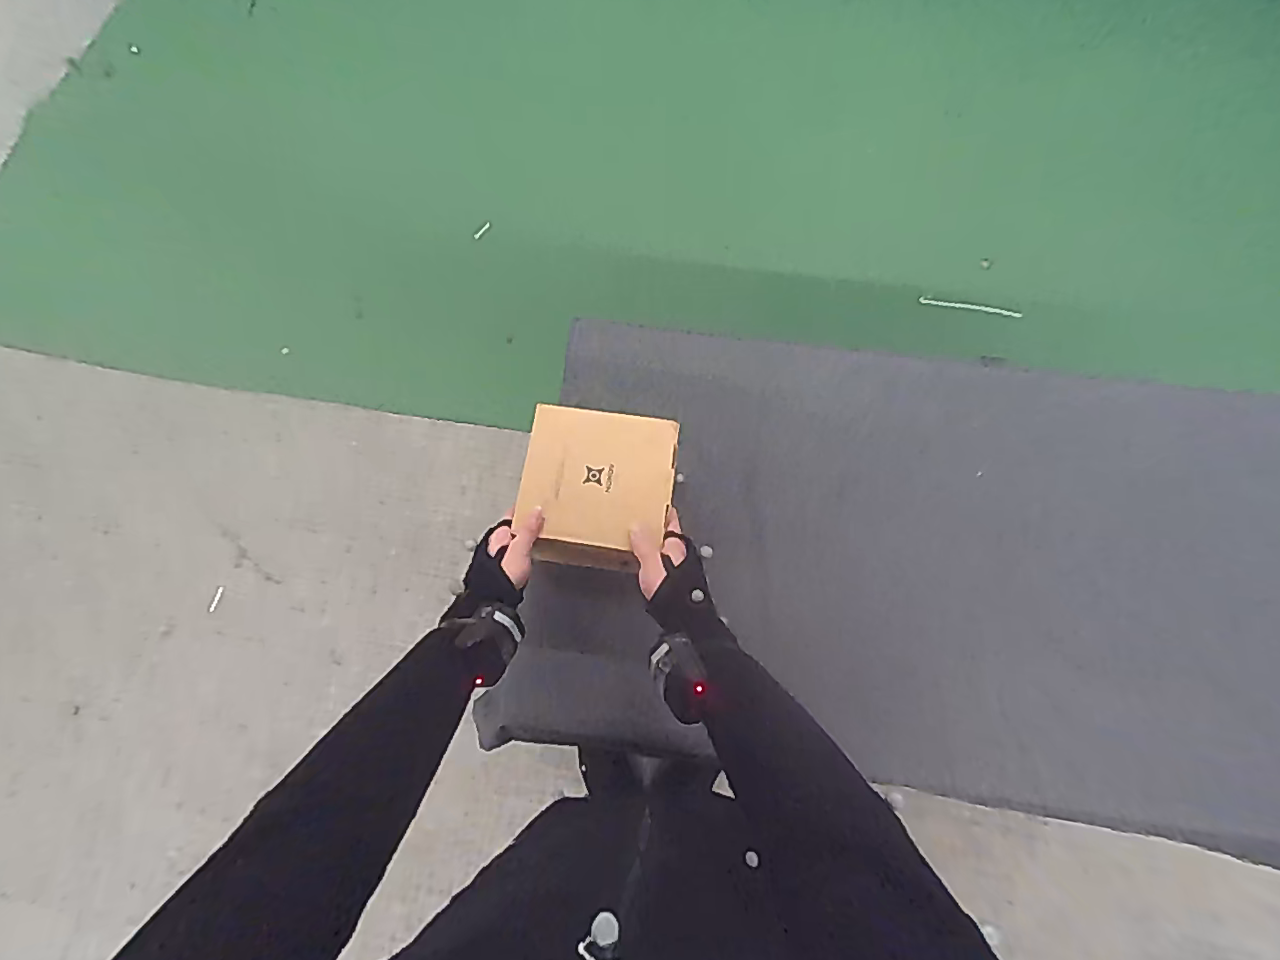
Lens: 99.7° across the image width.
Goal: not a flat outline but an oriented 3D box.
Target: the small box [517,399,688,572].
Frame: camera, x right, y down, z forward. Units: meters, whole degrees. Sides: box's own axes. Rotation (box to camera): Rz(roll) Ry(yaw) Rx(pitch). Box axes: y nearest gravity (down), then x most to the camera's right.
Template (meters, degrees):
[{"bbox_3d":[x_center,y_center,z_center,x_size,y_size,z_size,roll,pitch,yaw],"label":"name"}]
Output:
[{"bbox_3d":[-0.041,0.017,0.689,0.179,0.176,0.168,7,70,1],"label":"small box"}]
